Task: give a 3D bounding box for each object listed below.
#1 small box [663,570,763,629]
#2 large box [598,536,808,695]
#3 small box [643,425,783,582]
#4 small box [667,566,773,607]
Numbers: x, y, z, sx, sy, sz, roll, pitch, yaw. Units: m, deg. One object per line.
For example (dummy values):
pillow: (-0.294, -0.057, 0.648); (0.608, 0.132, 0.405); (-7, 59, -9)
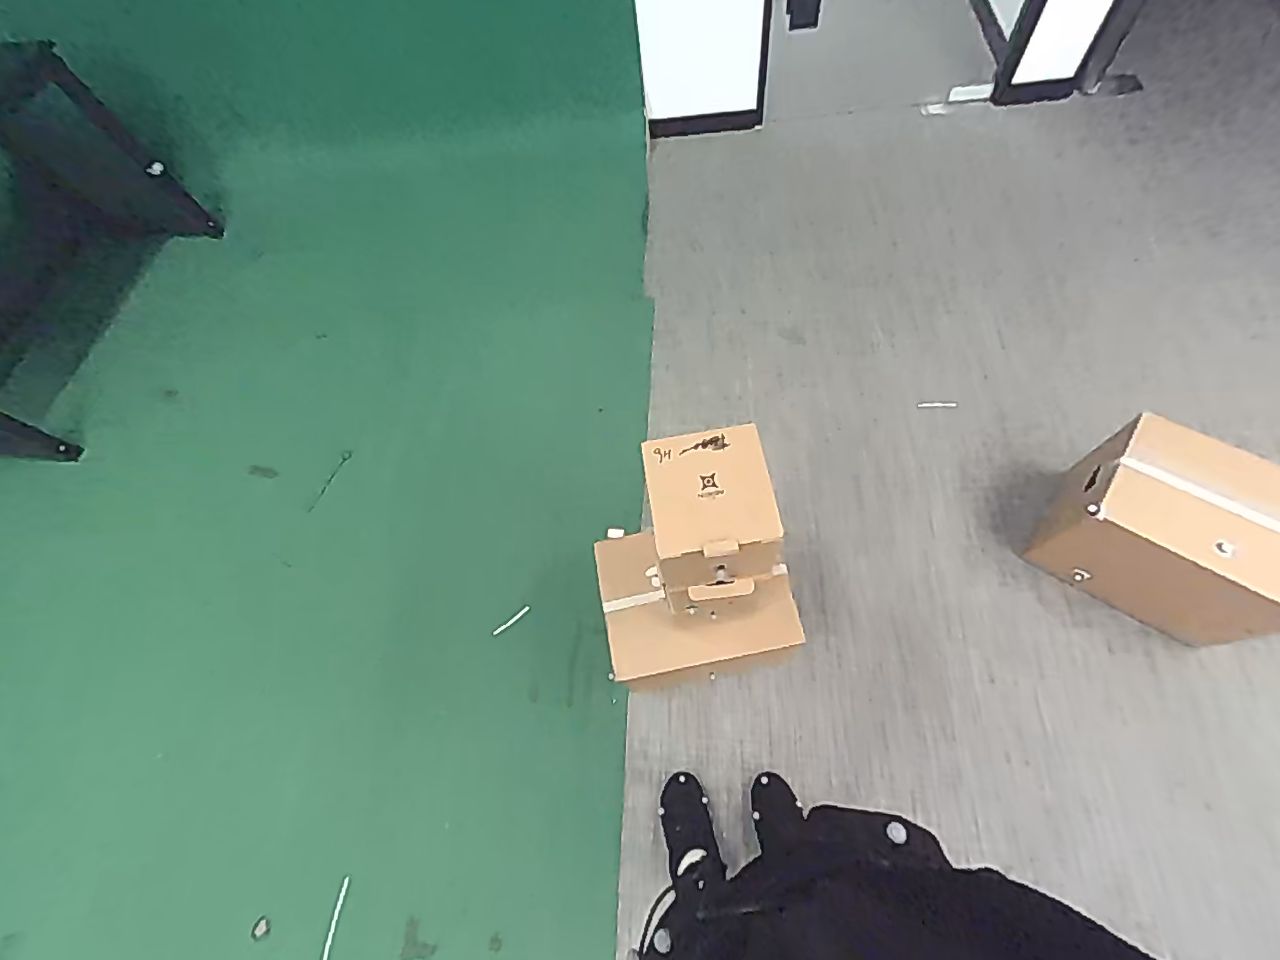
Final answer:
small box: (0.140, 0.194, 1.085); (0.179, 0.176, 0.168); (-10, 64, 3)
large box: (0.145, 0.309, 1.303); (0.408, 0.320, 0.320); (-14, 62, 3)
small box: (0.104, 0.045, 0.795); (0.168, 0.176, 0.179); (-9, 65, 3)
small box: (0.129, 0.118, 0.940); (0.168, 0.176, 0.179); (-8, 64, 4)
